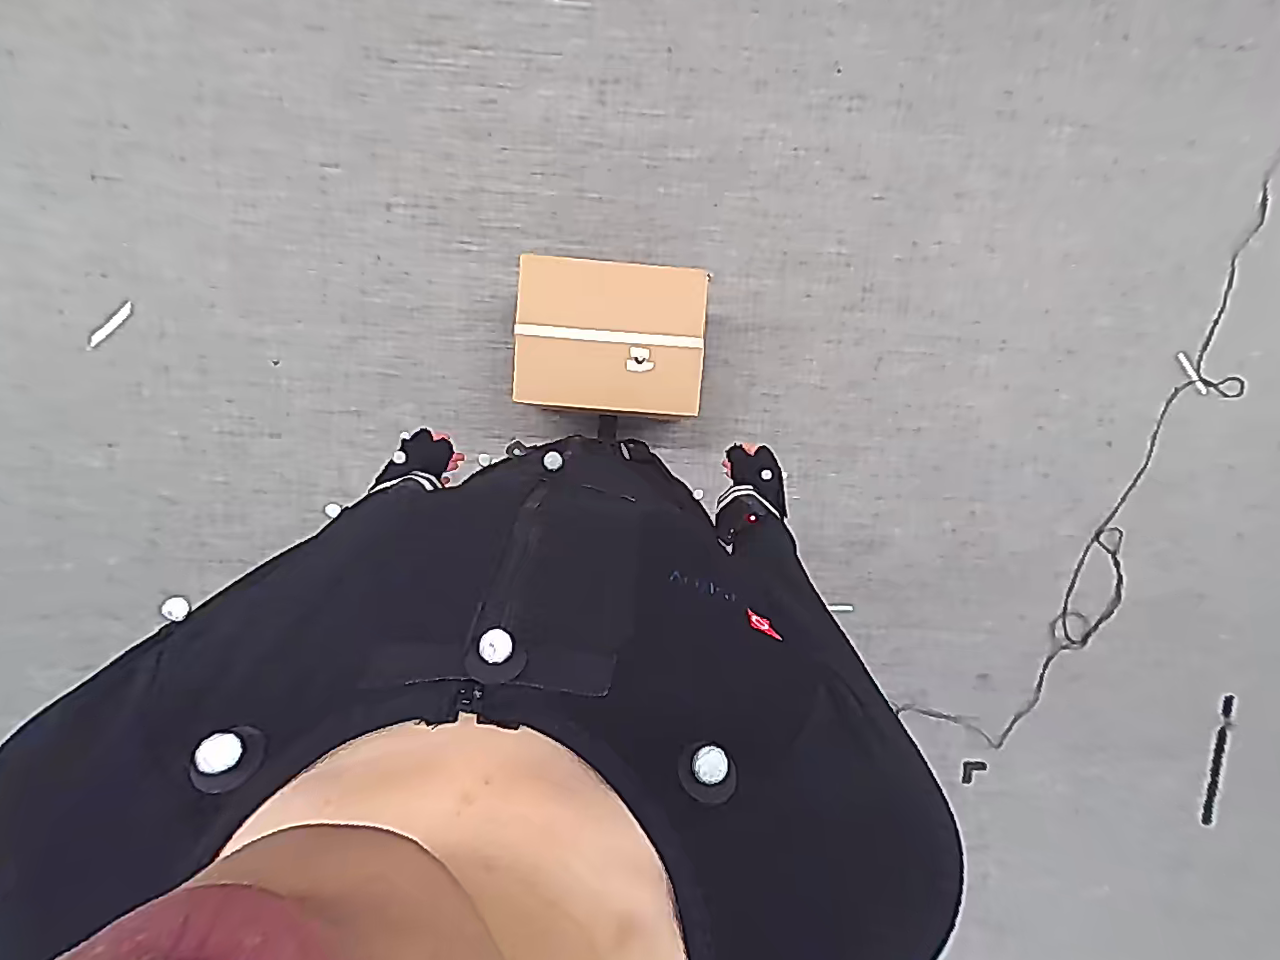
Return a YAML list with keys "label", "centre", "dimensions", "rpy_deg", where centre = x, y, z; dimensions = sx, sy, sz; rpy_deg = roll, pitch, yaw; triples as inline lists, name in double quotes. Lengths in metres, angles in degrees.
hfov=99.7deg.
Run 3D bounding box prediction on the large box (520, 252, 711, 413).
- label: "large box"
  centre: [-0.061, -0.330, 1.303]
  dimensions: [0.408, 0.320, 0.320]
  rpy_deg: [4, 96, -3]
